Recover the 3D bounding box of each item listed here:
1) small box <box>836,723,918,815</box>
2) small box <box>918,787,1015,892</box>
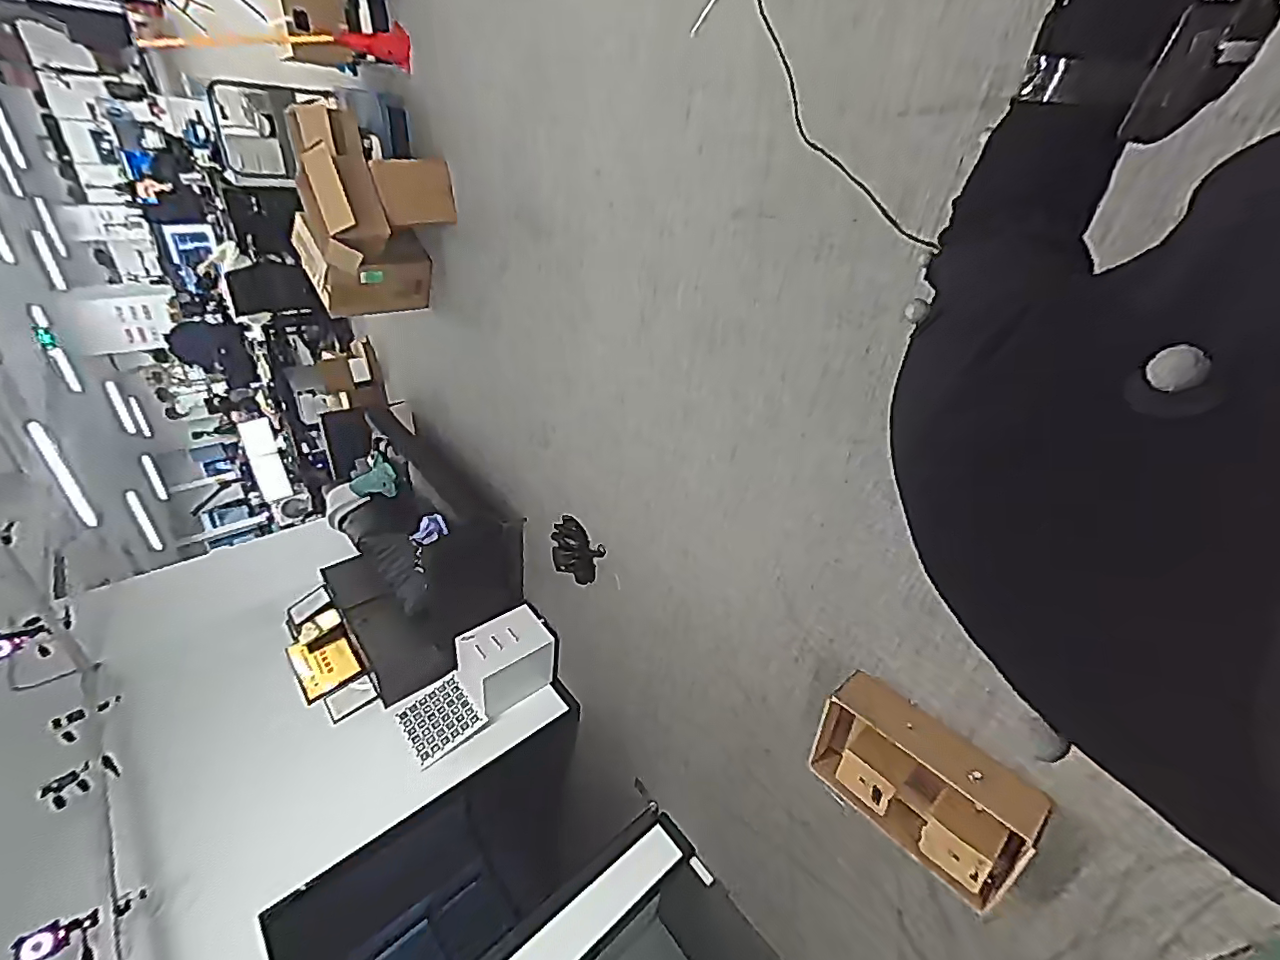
[{"bbox_3d":[0.790,0.953,1.801,0.179,0.176,0.168,32,131,38],"label":"small box"},{"bbox_3d":[0.975,1.062,1.620,0.179,0.176,0.168,29,130,43],"label":"small box"}]
